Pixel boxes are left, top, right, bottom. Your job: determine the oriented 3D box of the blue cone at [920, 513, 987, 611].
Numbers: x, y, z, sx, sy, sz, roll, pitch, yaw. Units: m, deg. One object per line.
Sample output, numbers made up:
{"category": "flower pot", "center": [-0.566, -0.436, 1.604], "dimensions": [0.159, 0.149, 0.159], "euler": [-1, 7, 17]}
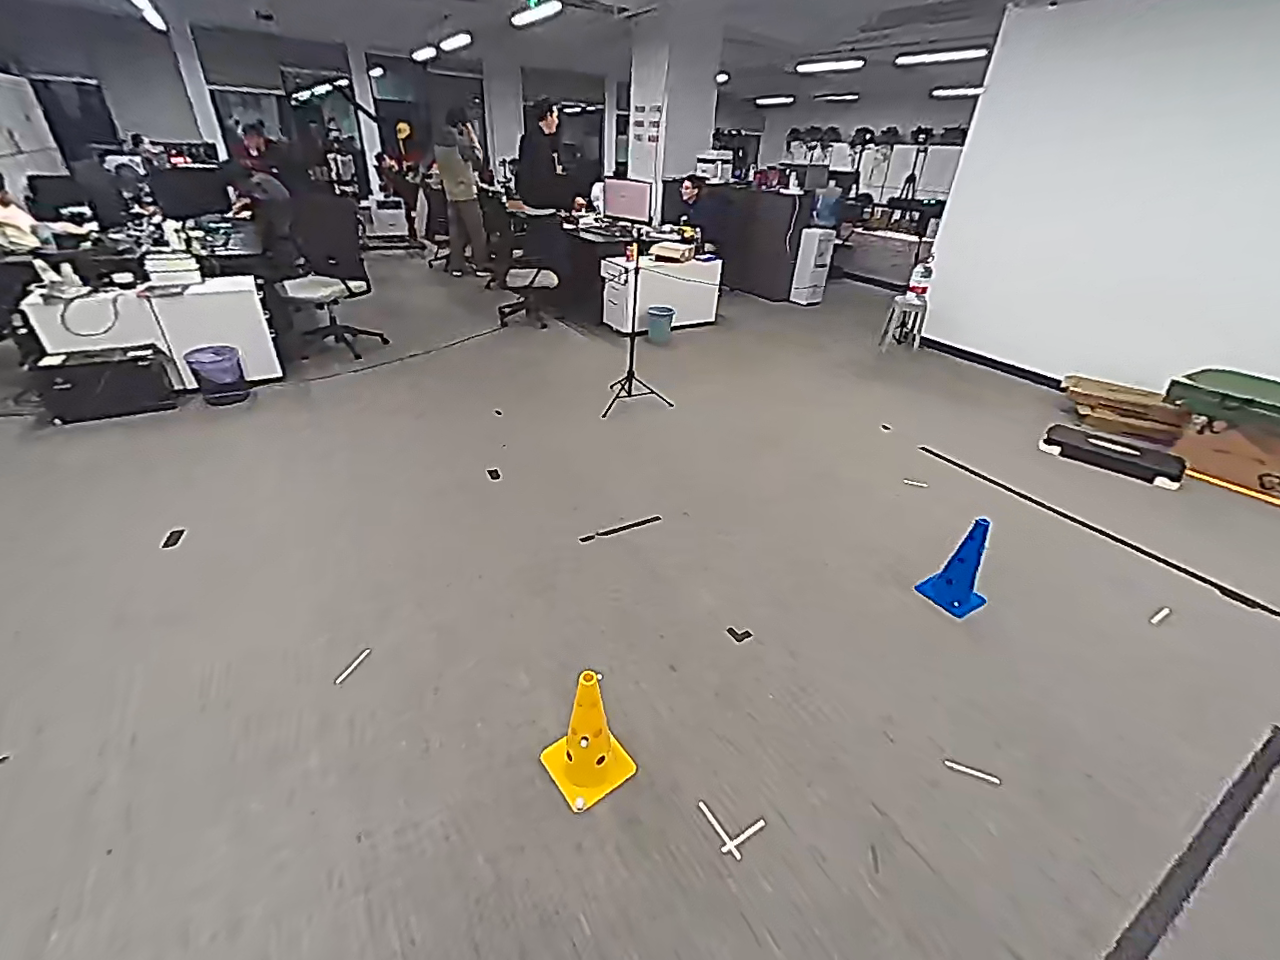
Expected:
{"category": "blue cone", "center": [1.228, 0.292, 2.030], "dimensions": [0.193, 0.380, 0.192], "euler": [-15, 35, -27]}
